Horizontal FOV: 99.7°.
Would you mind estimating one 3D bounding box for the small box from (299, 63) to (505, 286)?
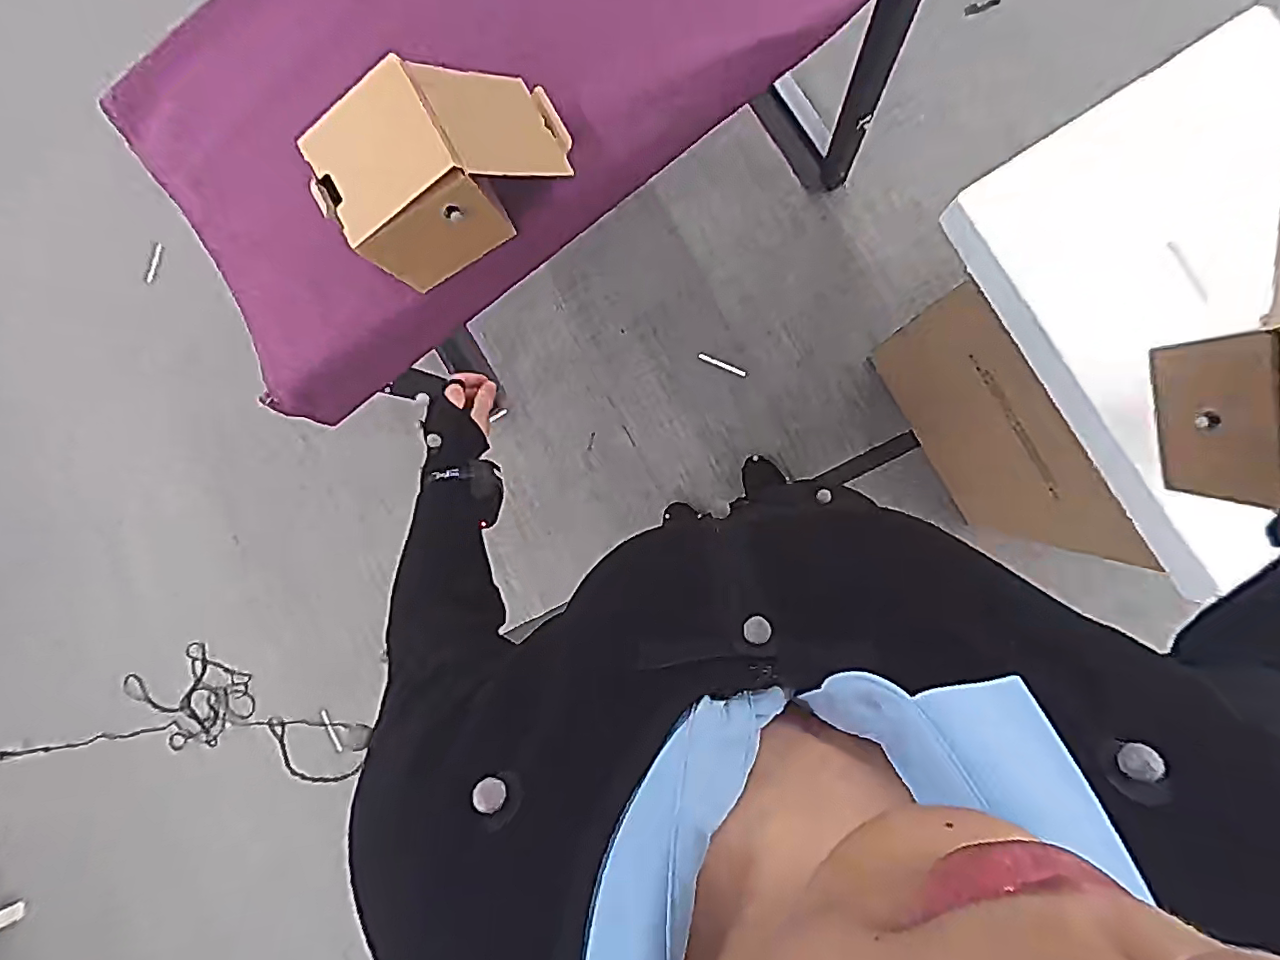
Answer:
[{"bbox_3d":[-0.310,-0.404,0.749,0.179,0.176,0.168,-29,86,8],"label":"small box"}]
